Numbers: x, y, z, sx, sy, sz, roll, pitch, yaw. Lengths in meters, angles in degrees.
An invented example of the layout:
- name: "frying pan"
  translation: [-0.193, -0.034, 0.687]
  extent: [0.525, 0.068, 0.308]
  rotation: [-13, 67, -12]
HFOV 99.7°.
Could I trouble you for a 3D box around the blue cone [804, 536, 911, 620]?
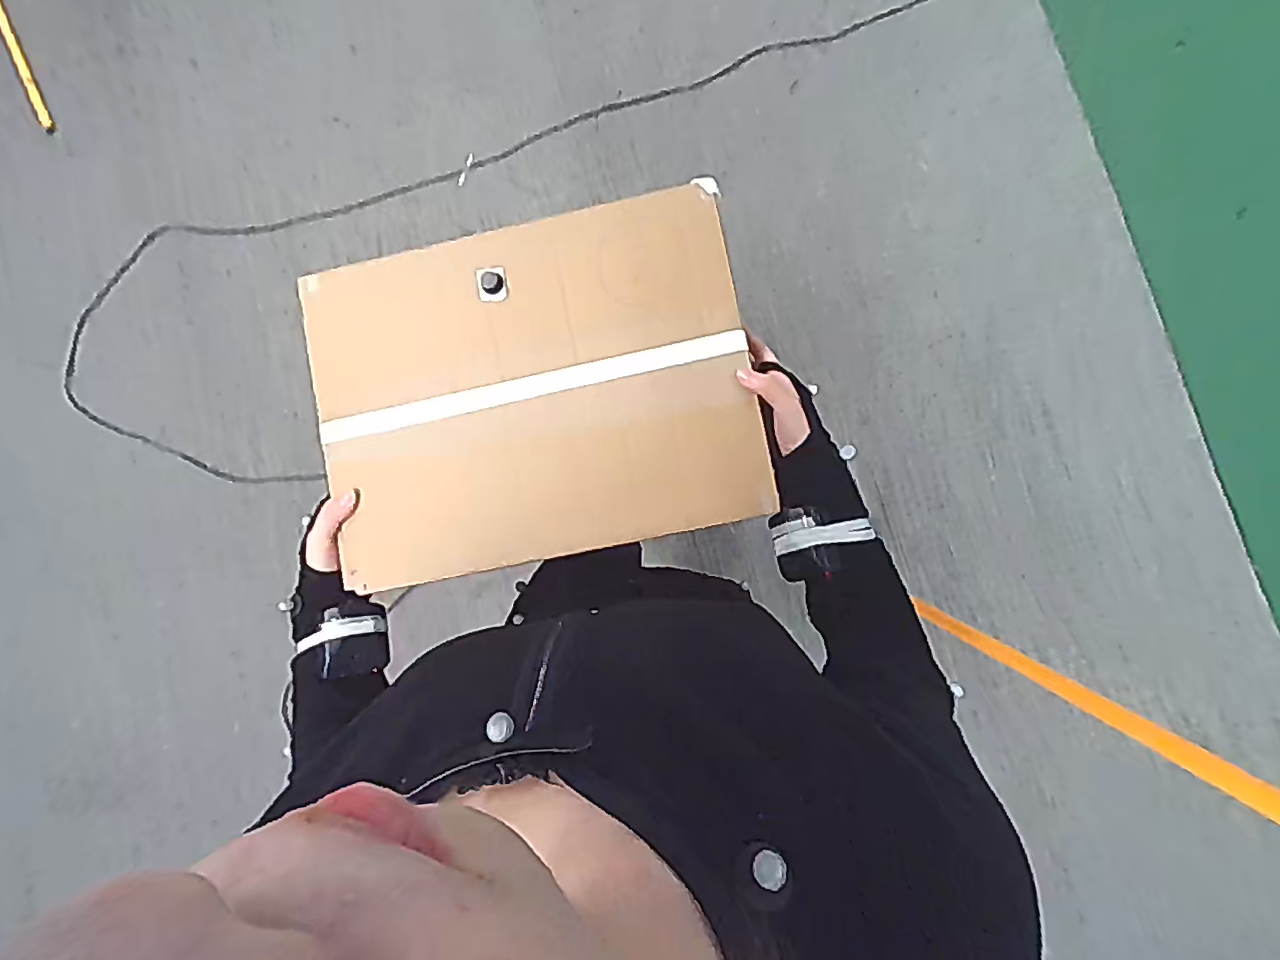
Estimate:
- name: "blue cone"
  translation: [0.537, 0.248, 1.251]
  extent: [0.192, 0.380, 0.193]
  rotation: [-19, 87, 3]
